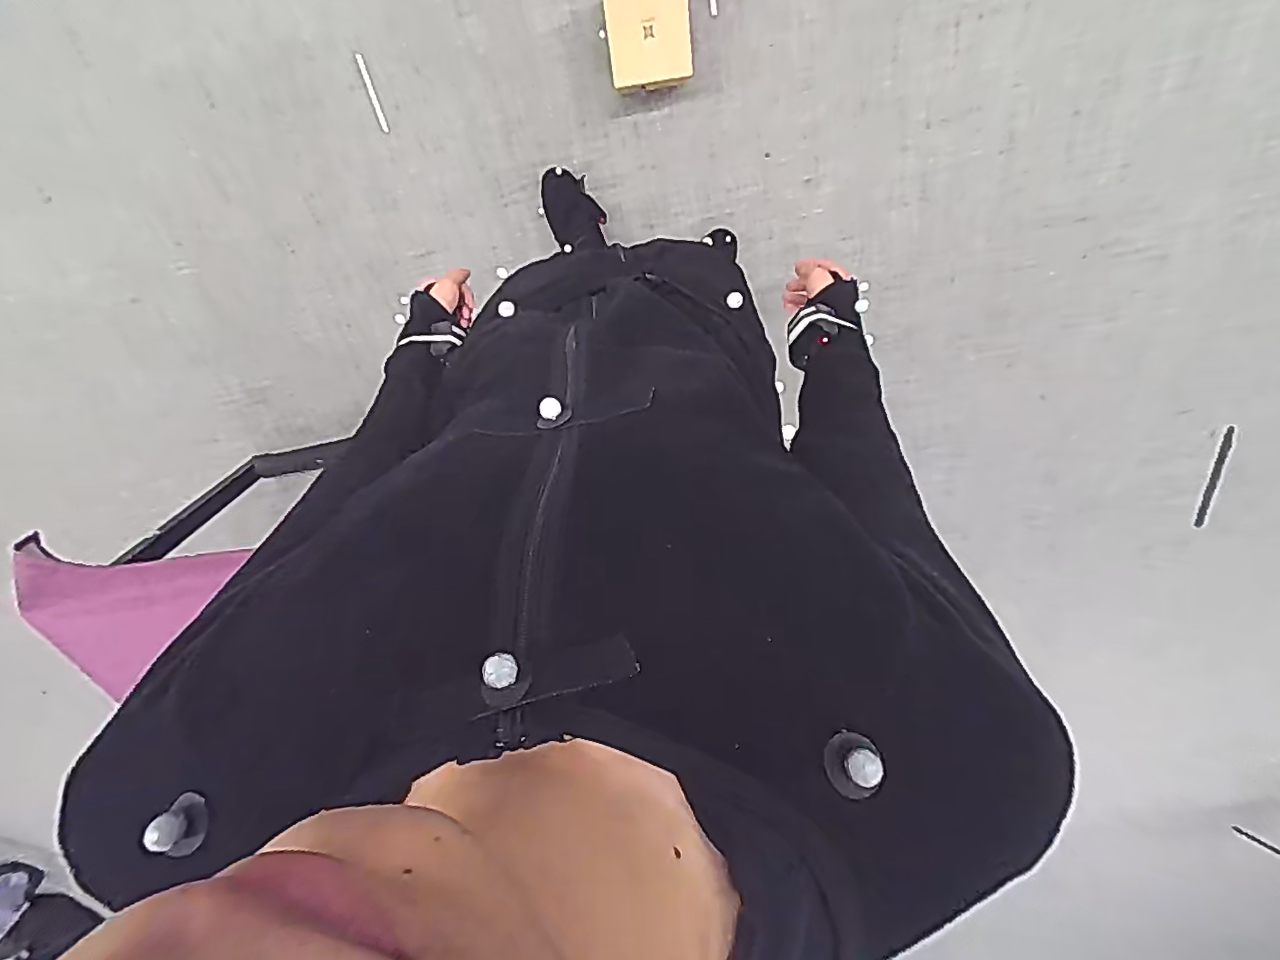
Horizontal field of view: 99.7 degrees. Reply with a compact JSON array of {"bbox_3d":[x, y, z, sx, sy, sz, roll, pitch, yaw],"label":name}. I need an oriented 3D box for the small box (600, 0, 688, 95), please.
[{"bbox_3d":[0.011,-0.934,1.143,0.168,0.176,0.179,-7,120,4],"label":"small box"}]

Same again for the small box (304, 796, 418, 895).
[{"bbox_3d":[-0.721,0.970,1.422,0.168,0.176,0.179,-20,118,11],"label":"small box"}]
